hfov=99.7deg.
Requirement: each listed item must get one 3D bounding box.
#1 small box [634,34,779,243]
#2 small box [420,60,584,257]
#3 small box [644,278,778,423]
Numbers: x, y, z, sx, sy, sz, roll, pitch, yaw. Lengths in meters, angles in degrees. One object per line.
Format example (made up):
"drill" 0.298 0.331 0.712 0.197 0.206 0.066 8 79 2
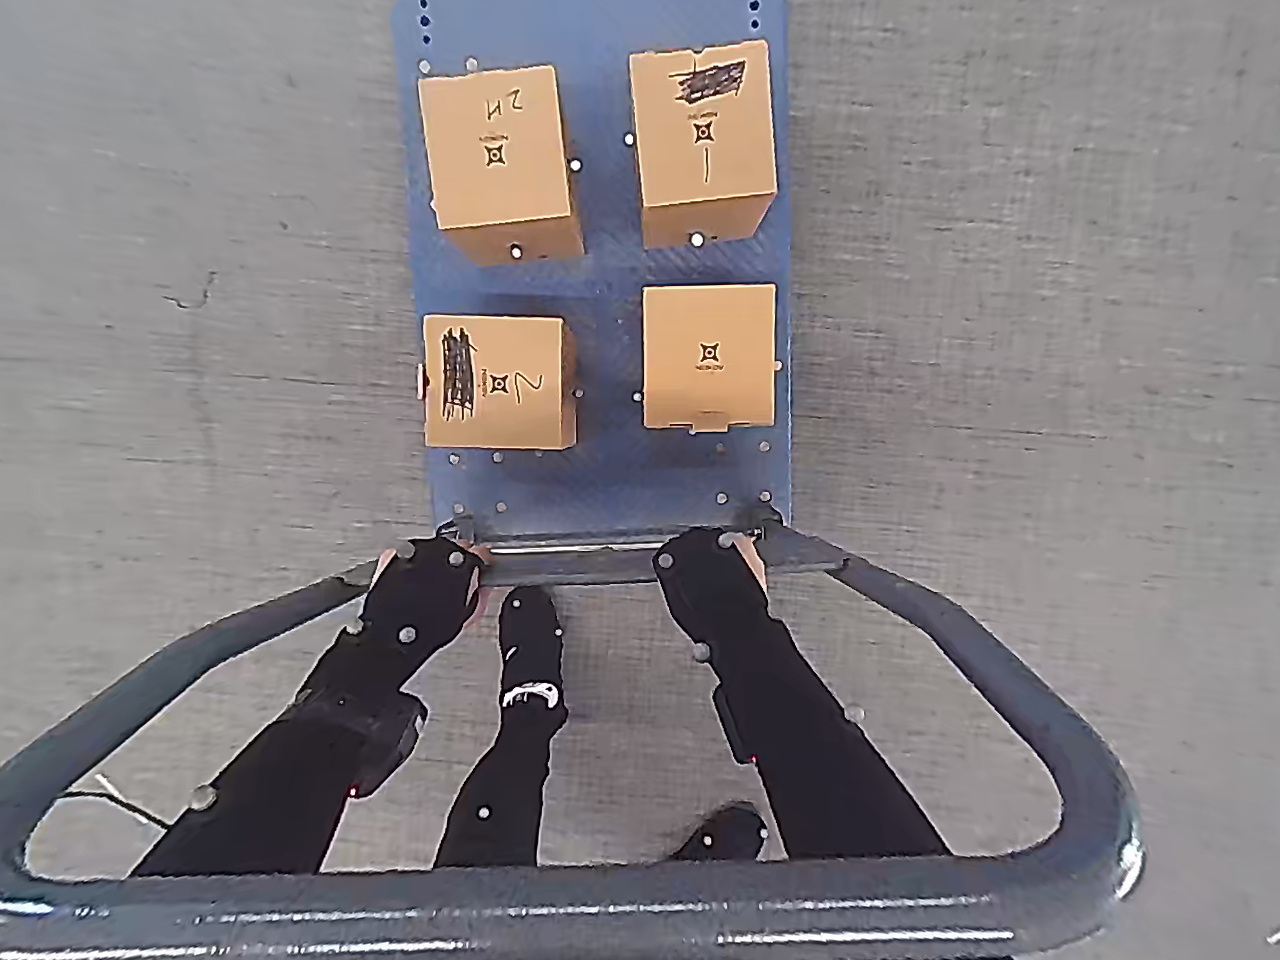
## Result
"small box" 0.080 -0.437 0.720 0.168 0.176 0.179 -5 98 2
"small box" -0.171 -0.411 0.726 0.168 0.176 0.179 -6 97 0
"small box" 0.089 -0.169 0.753 0.168 0.176 0.179 -1 97 1
